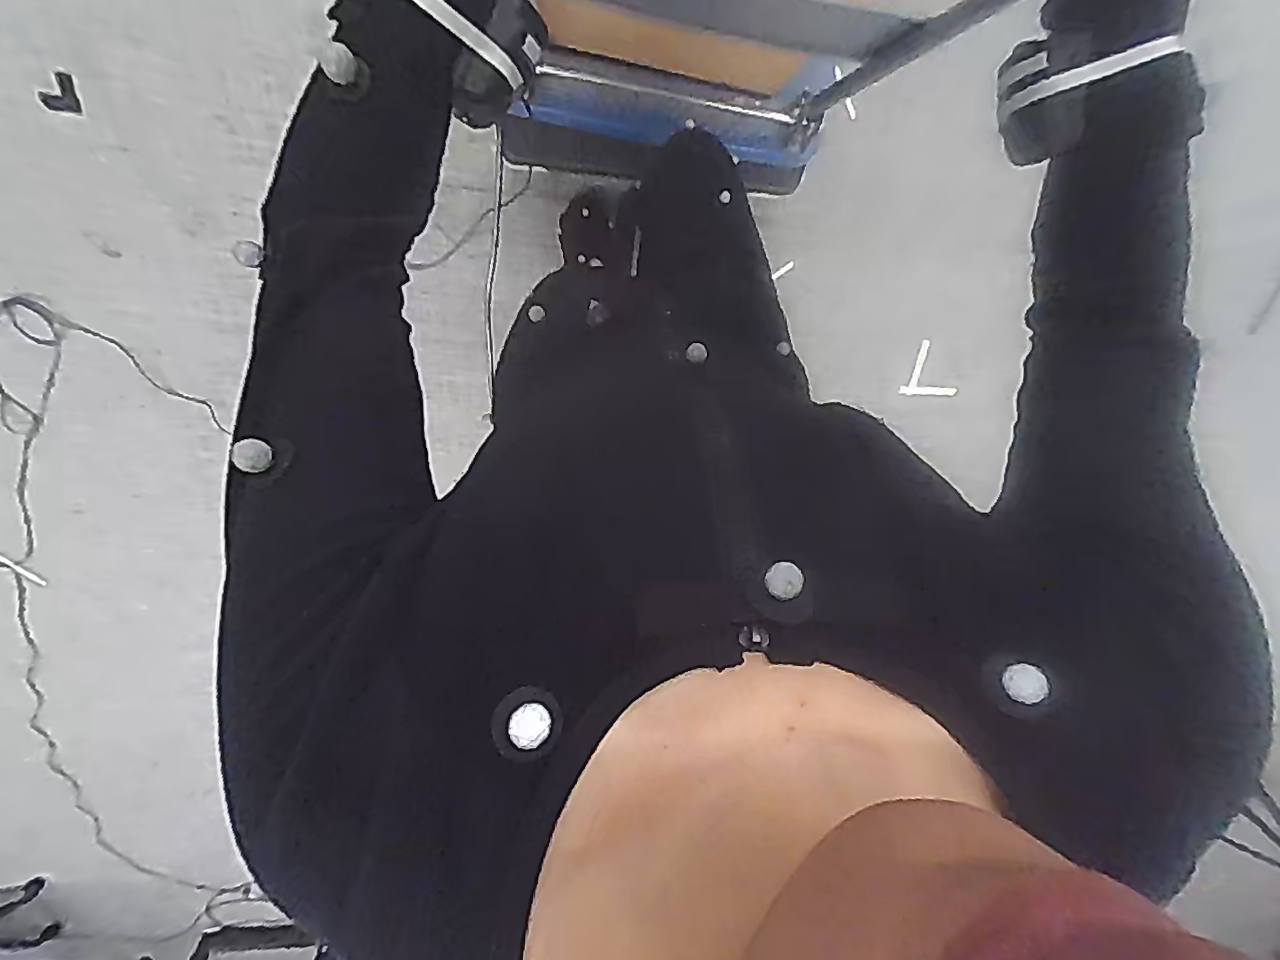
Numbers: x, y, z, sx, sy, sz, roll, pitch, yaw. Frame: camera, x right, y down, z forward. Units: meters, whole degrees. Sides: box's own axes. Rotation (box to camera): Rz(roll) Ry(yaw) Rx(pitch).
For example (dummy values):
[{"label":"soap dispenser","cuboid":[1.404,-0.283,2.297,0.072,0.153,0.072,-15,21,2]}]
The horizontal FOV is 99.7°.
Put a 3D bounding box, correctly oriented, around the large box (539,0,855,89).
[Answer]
[{"label":"large box","cuboid":[0.072,-0.794,0.726,0.408,0.320,0.320,5,107,-11]}]
